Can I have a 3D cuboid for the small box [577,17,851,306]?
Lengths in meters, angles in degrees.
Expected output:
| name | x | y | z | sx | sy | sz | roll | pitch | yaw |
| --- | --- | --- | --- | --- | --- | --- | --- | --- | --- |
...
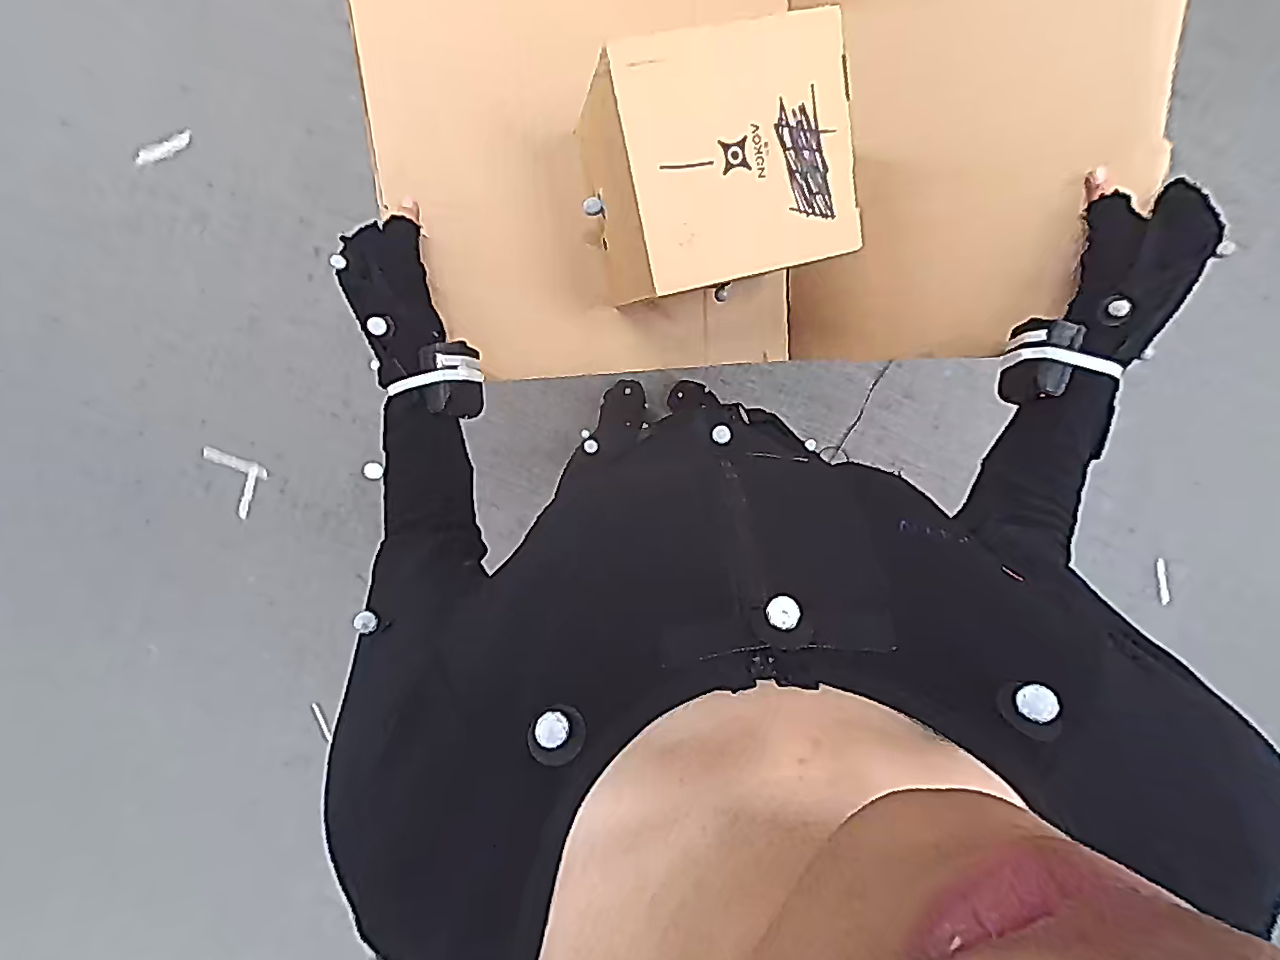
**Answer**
| name | x | y | z | sx | sy | sz | roll | pitch | yaw |
| --- | --- | --- | --- | --- | --- | --- | --- | --- | --- |
| small box | 0.055 | -0.258 | 0.477 | 0.179 | 0.176 | 0.168 | -17 | 107 | -8 |
